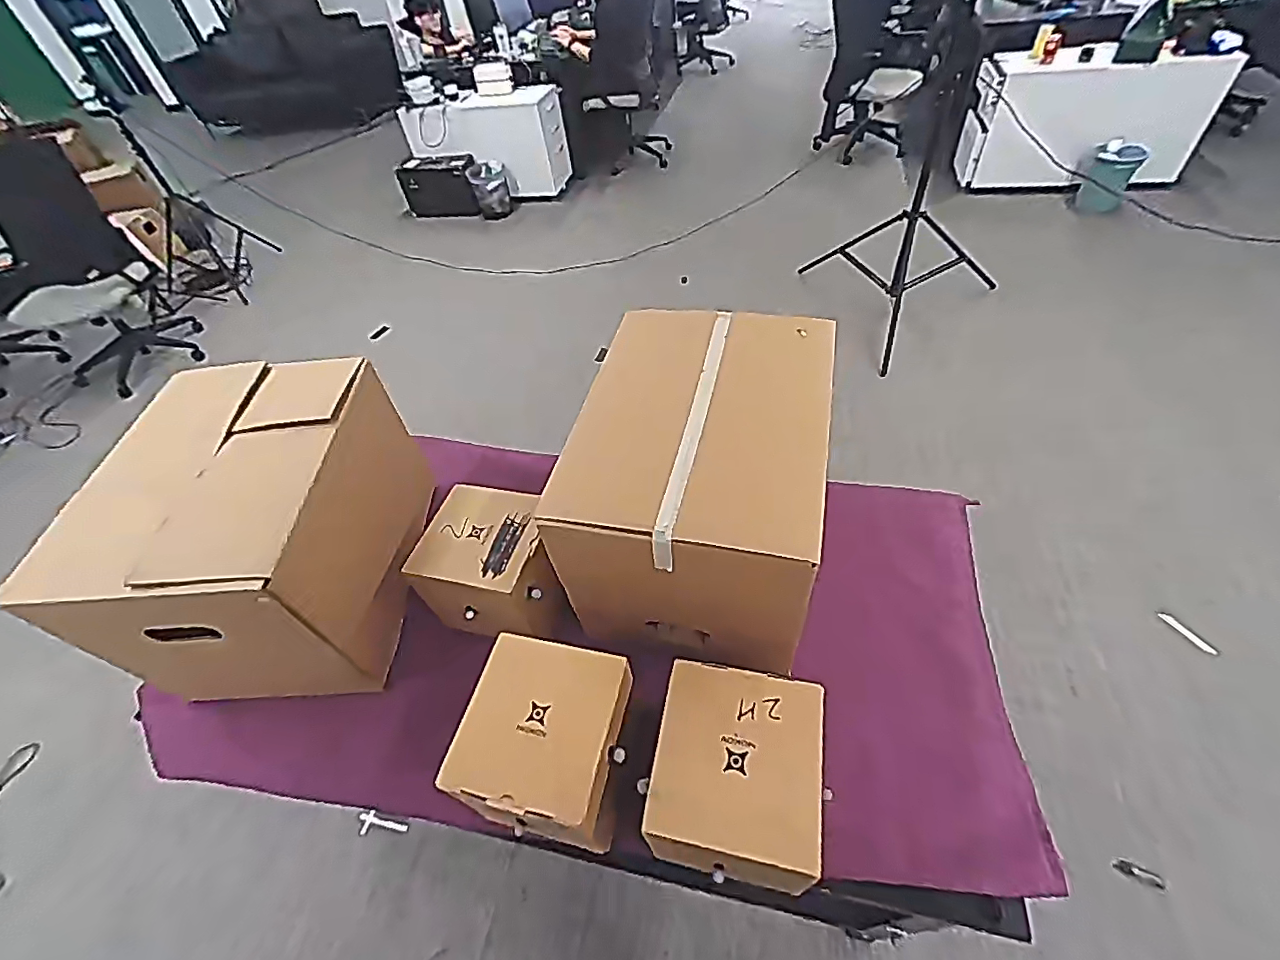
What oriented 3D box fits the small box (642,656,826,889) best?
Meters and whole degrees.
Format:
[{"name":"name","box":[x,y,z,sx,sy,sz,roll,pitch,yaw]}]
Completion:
[{"name":"small box","box":[0.108,0.326,0.602,0.168,0.176,0.179,7,49,13]}]
